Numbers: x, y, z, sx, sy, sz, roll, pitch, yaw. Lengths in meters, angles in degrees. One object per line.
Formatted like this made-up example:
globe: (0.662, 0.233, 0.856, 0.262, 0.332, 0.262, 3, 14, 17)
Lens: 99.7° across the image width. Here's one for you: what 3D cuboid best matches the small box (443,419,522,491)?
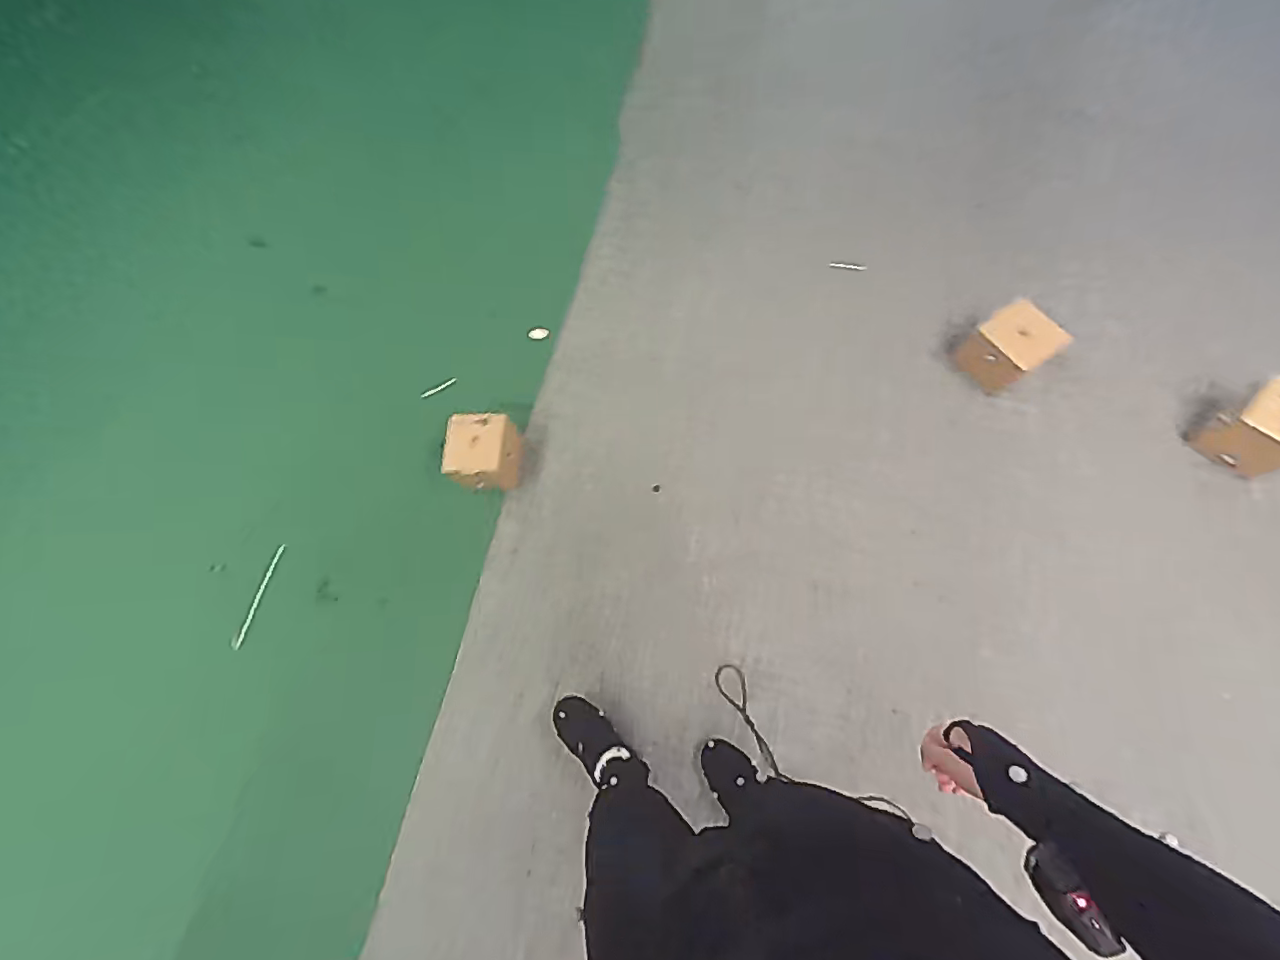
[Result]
small box: (-0.460, -0.069, 1.605, 0.168, 0.176, 0.179, 0, 72, 6)
